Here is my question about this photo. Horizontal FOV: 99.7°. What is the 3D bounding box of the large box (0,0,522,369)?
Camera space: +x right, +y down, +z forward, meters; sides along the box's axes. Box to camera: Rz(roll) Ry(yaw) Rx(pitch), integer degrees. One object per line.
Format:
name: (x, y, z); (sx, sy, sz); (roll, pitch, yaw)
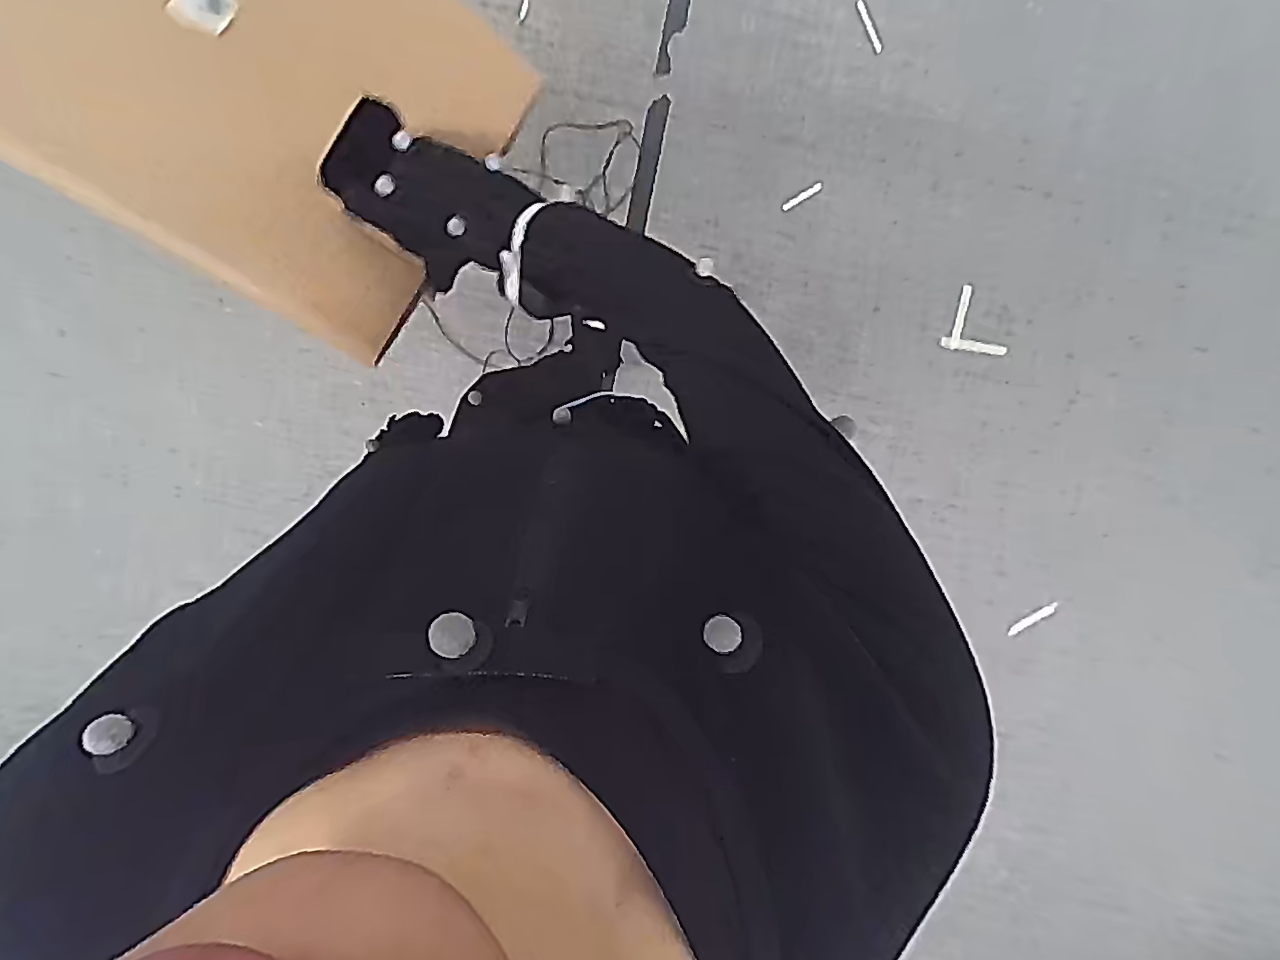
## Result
large box: (-0.379, -0.347, 0.623); (0.320, 0.408, 0.320); (29, 89, -27)
